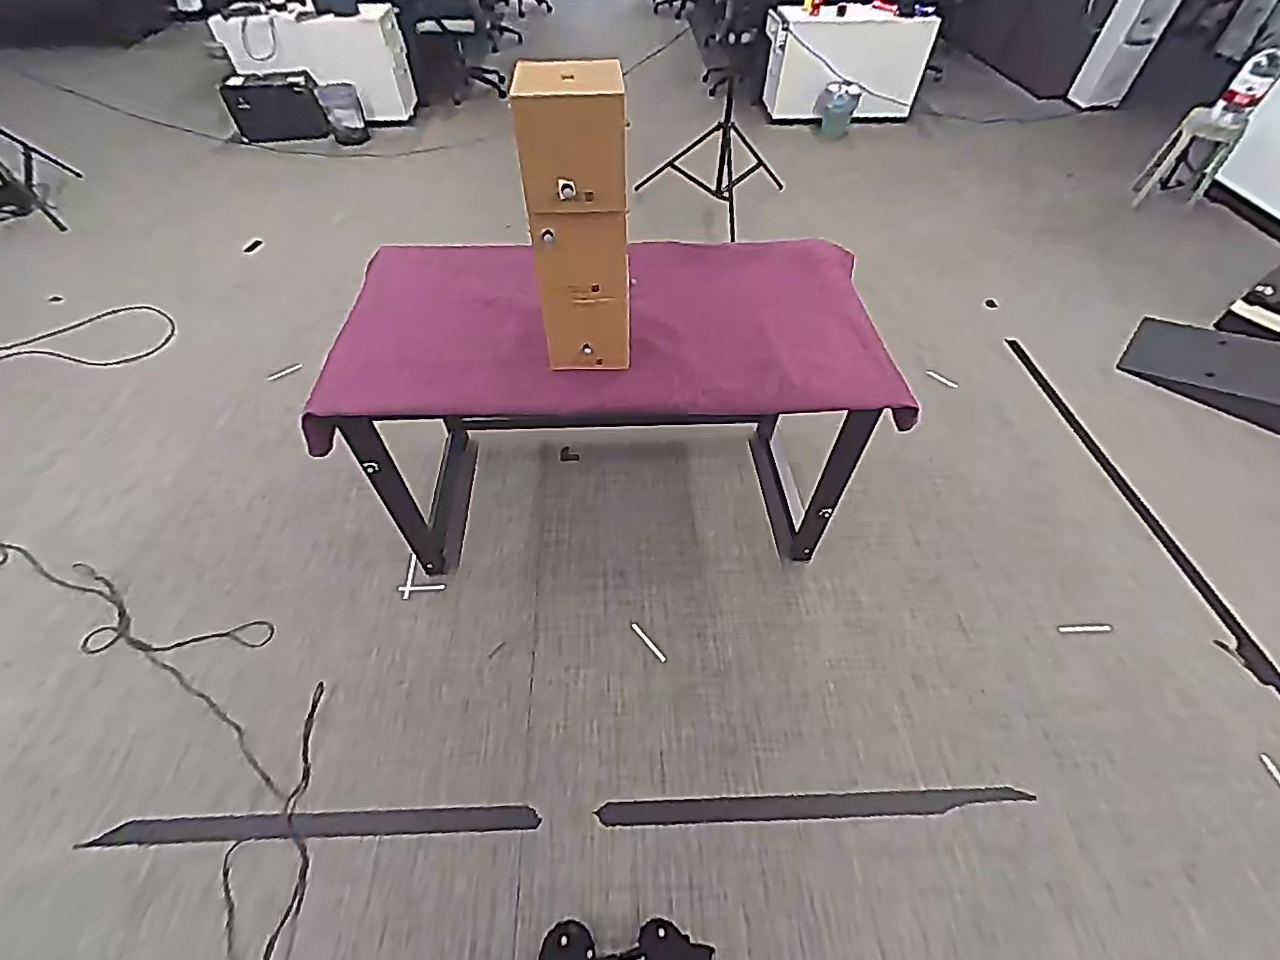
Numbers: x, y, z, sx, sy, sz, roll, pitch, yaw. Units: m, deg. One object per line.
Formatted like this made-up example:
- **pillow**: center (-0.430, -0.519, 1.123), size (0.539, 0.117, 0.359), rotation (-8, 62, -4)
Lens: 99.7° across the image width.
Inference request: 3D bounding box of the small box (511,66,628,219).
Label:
- **small box**: center (-0.108, -0.546, 0.878), size (0.168, 0.176, 0.179), rotation (-4, 51, -3)

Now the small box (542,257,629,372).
- **small box**: center (-0.107, -0.348, 1.138), size (0.168, 0.176, 0.179), rotation (-1, 51, 0)
